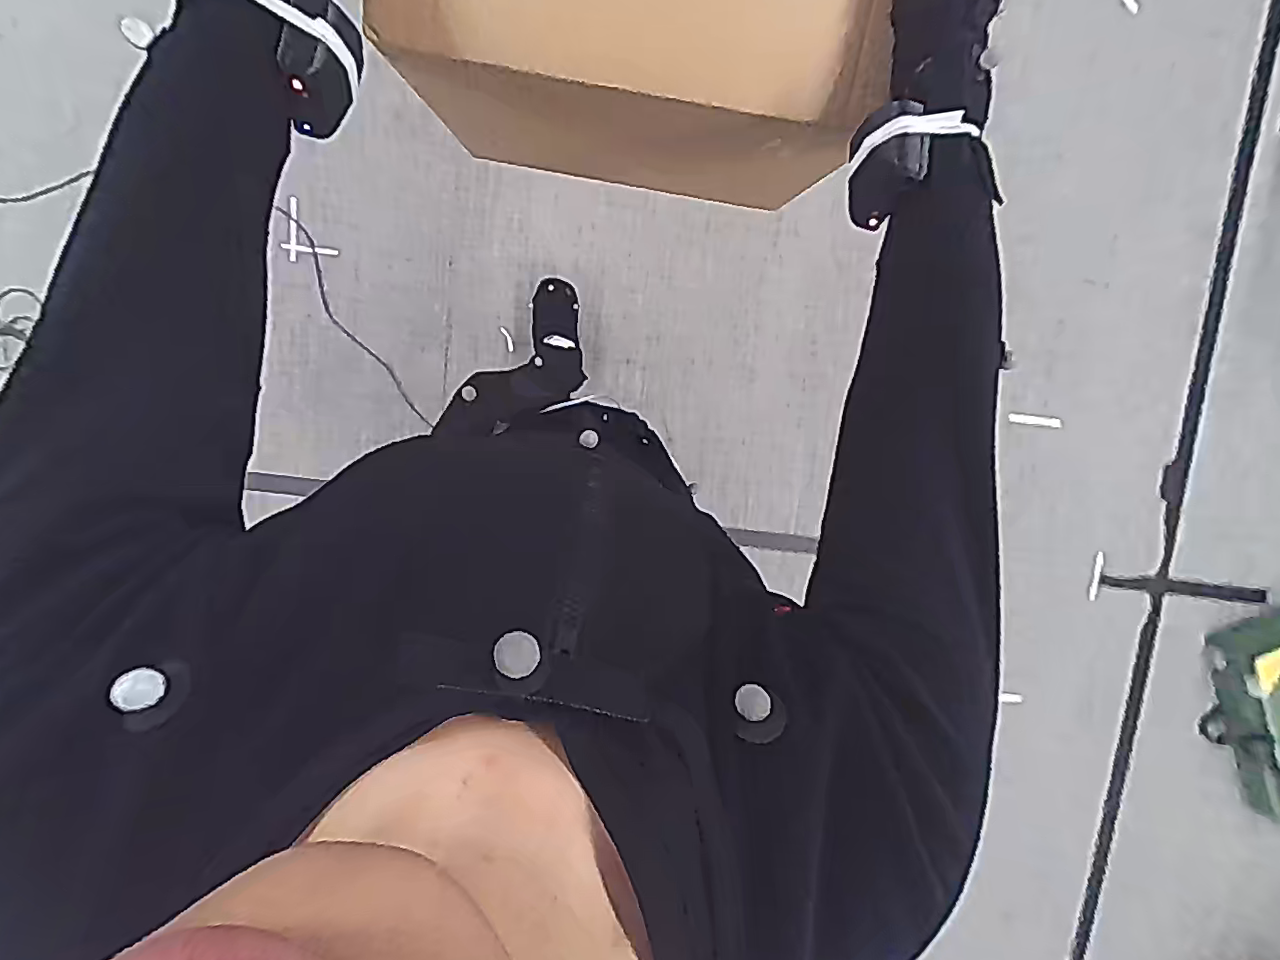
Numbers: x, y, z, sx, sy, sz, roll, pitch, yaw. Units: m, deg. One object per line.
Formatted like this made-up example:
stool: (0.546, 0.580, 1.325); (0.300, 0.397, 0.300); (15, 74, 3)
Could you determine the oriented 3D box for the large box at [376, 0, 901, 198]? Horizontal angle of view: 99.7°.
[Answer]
large box: (0.006, -0.499, 0.525); (0.408, 0.320, 0.320); (7, 107, -5)
